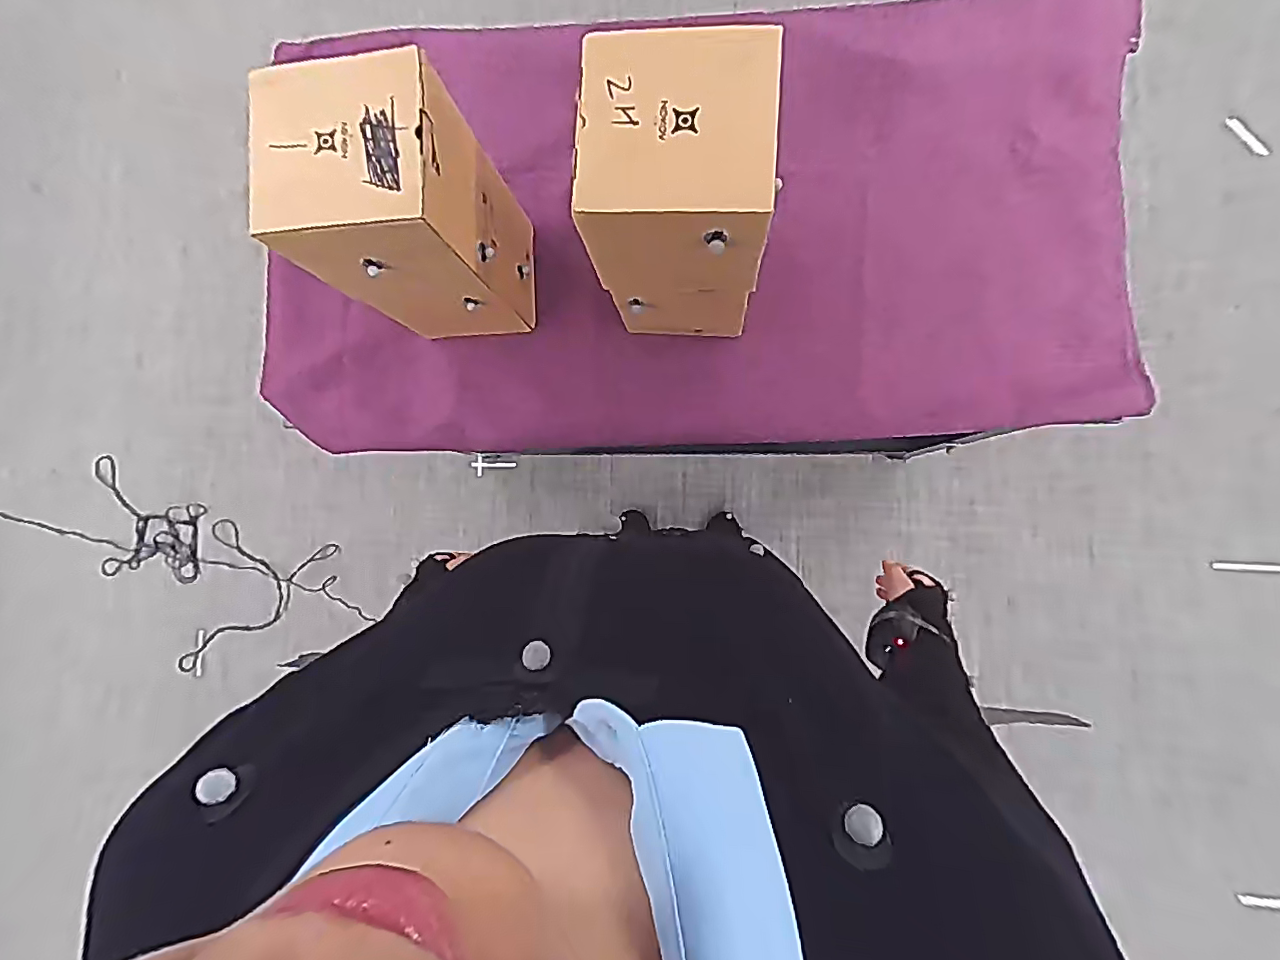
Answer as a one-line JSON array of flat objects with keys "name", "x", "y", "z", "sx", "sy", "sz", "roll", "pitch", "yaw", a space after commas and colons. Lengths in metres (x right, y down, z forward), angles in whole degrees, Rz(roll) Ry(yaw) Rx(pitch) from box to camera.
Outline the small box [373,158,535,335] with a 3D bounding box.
[{"name": "small box", "x": -0.256, "y": -0.308, "z": 0.748, "sx": 0.179, "sy": 0.176, "sz": 0.168, "roll": -2, "pitch": 87, "yaw": 6}]

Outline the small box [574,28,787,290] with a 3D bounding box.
[{"name": "small box", "x": 0.042, "y": -0.304, "z": 0.545, "sx": 0.179, "sy": 0.176, "sz": 0.168, "roll": 3, "pitch": 87, "yaw": 7}]

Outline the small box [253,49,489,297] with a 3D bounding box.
[{"name": "small box", "x": -0.272, "y": -0.311, "z": 0.584, "sx": 0.179, "sy": 0.176, "sz": 0.168, "roll": -2, "pitch": 87, "yaw": 6}]
